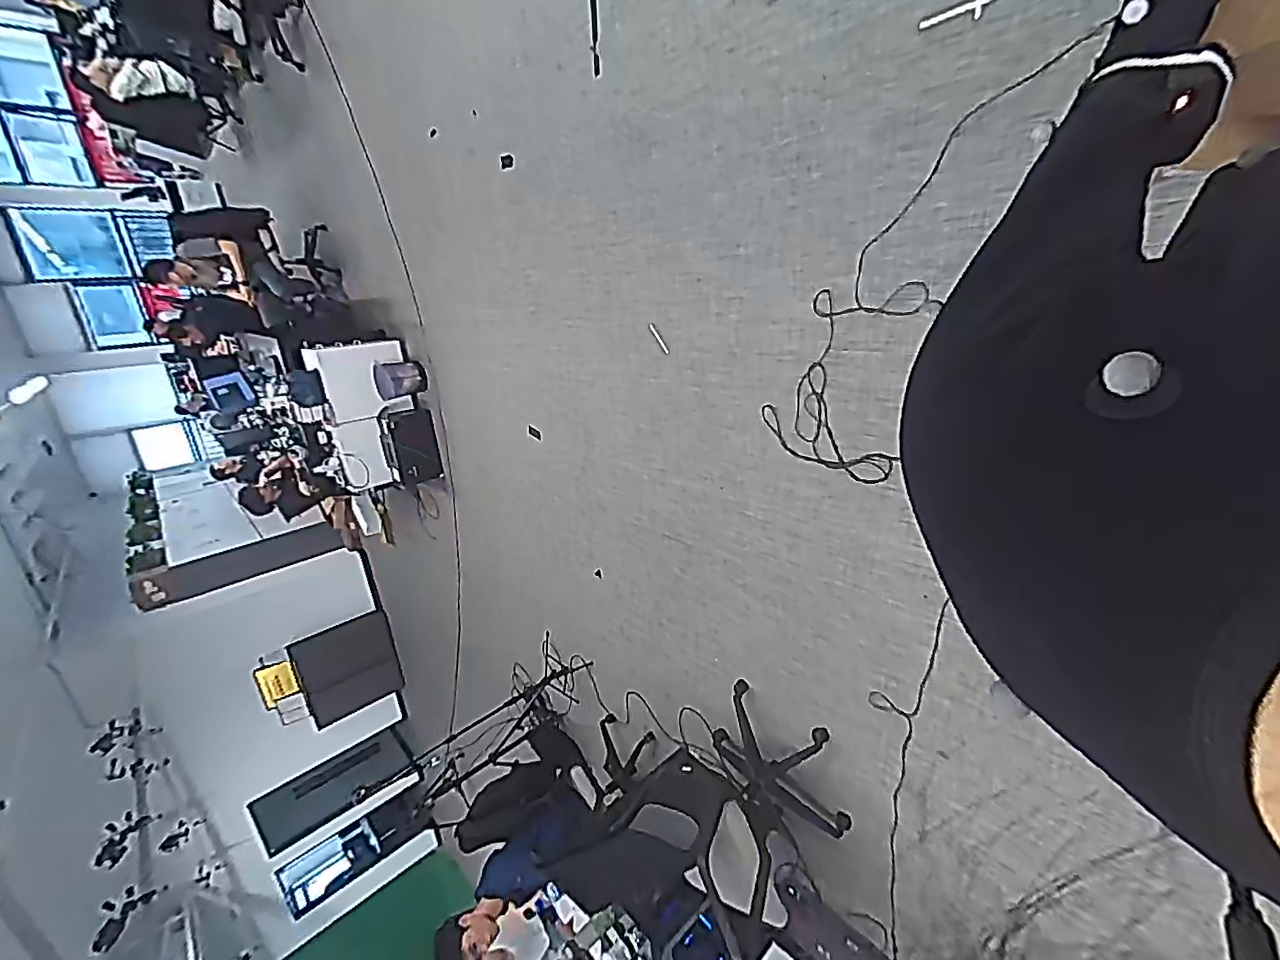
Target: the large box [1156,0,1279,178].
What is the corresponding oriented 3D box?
[{"bbox_3d":[0.717,-0.423,0.409,0.408,0.320,0.320,27,122,35],"label":"large box"}]
